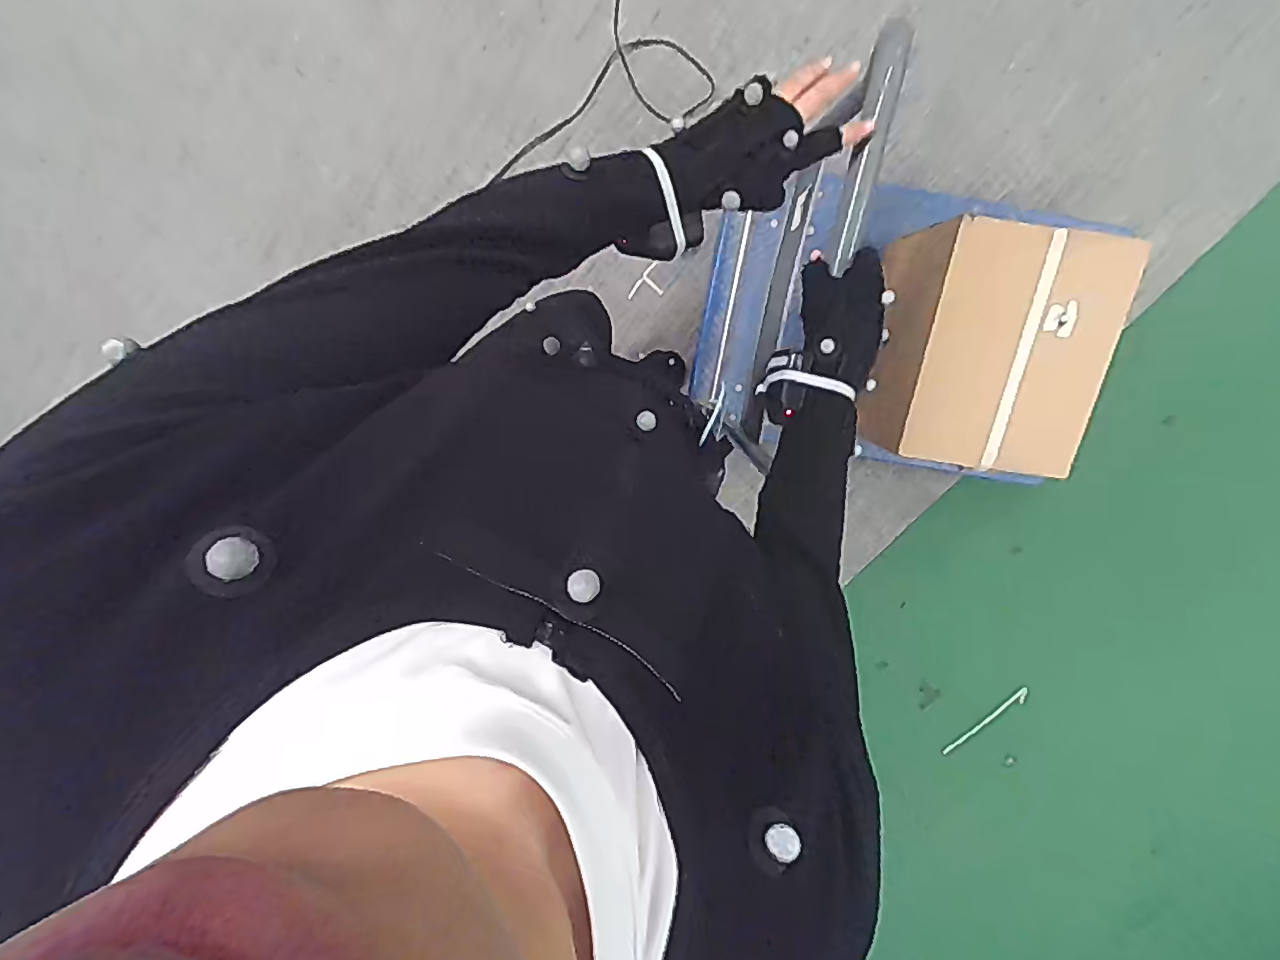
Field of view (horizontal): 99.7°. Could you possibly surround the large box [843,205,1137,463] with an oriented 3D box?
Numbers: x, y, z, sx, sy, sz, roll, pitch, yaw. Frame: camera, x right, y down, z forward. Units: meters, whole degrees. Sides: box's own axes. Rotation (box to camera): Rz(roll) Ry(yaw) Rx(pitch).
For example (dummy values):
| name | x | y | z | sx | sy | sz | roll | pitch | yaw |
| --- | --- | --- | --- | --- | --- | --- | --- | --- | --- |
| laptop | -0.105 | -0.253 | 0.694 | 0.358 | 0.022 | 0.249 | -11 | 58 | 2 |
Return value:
| name | x | y | z | sx | sy | sz | roll | pitch | yaw |
| --- | --- | --- | --- | --- | --- | --- | --- | --- | --- |
| large box | 0.640 | -0.275 | 1.074 | 0.320 | 0.320 | 0.408 | 8 | 105 | -1 |
